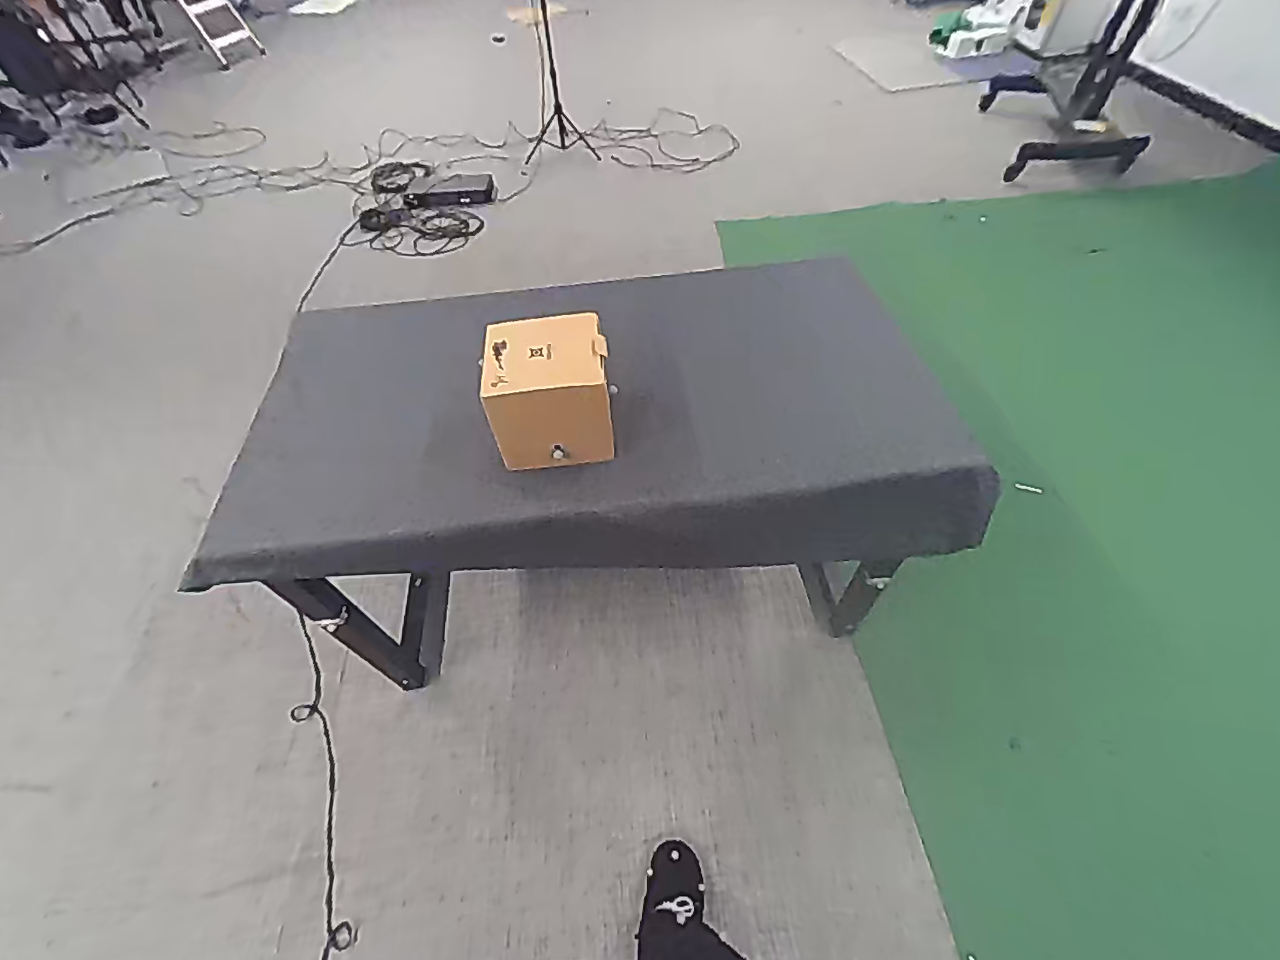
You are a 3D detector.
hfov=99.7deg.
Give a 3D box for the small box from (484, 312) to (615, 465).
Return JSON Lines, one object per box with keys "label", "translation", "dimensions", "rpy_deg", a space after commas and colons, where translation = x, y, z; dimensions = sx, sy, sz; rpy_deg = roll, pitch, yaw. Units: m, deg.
{"label": "small box", "translation": [-0.133, -0.141, 0.859], "dimensions": [0.179, 0.176, 0.168], "rpy_deg": [-6, 52, -1]}
